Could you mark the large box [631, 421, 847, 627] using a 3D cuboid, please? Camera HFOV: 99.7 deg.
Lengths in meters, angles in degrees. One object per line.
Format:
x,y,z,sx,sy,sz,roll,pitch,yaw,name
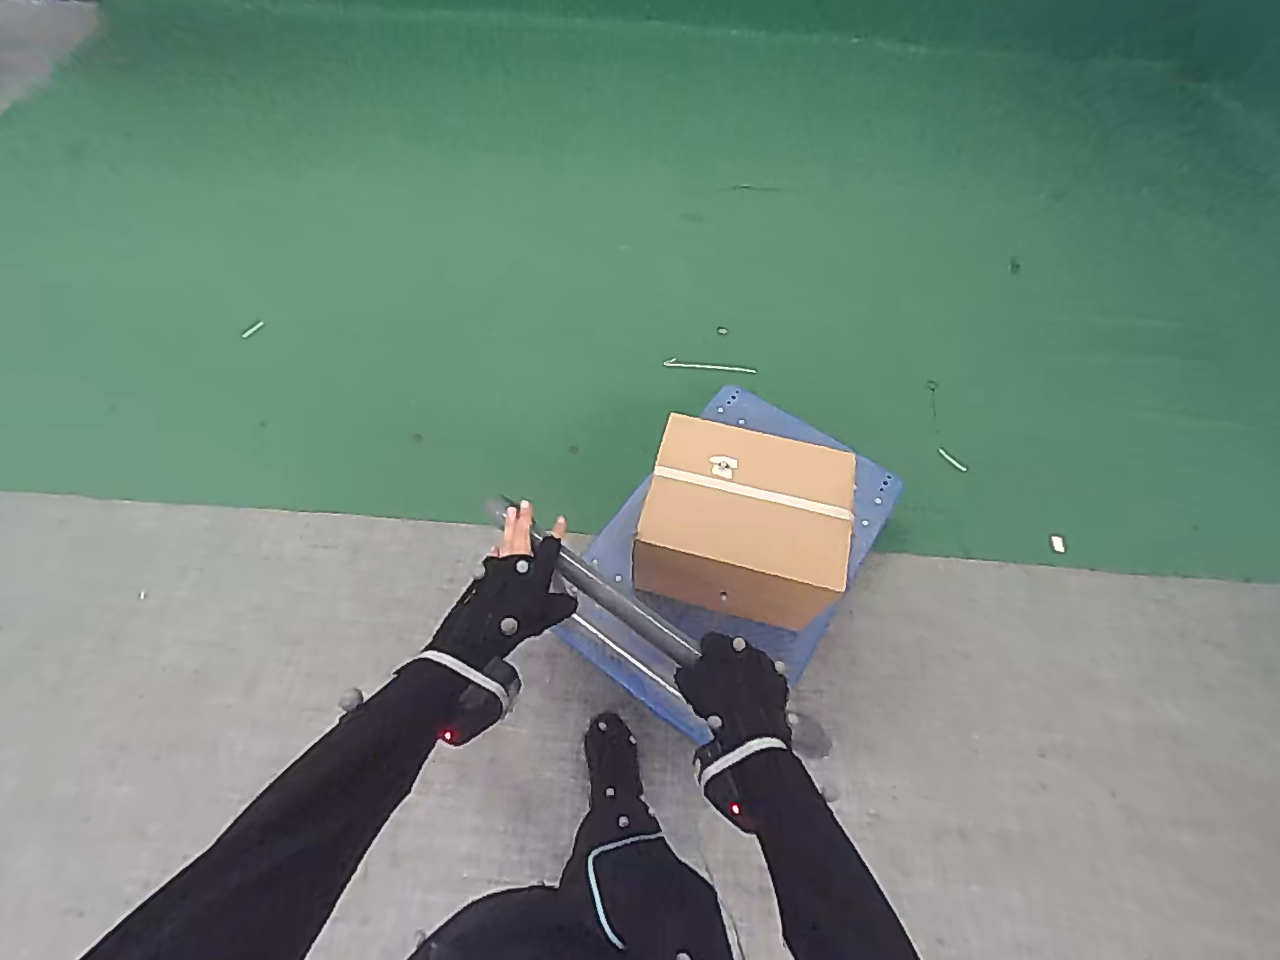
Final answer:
0.213,0.109,1.227,0.408,0.320,0.320,13,61,7,large box
